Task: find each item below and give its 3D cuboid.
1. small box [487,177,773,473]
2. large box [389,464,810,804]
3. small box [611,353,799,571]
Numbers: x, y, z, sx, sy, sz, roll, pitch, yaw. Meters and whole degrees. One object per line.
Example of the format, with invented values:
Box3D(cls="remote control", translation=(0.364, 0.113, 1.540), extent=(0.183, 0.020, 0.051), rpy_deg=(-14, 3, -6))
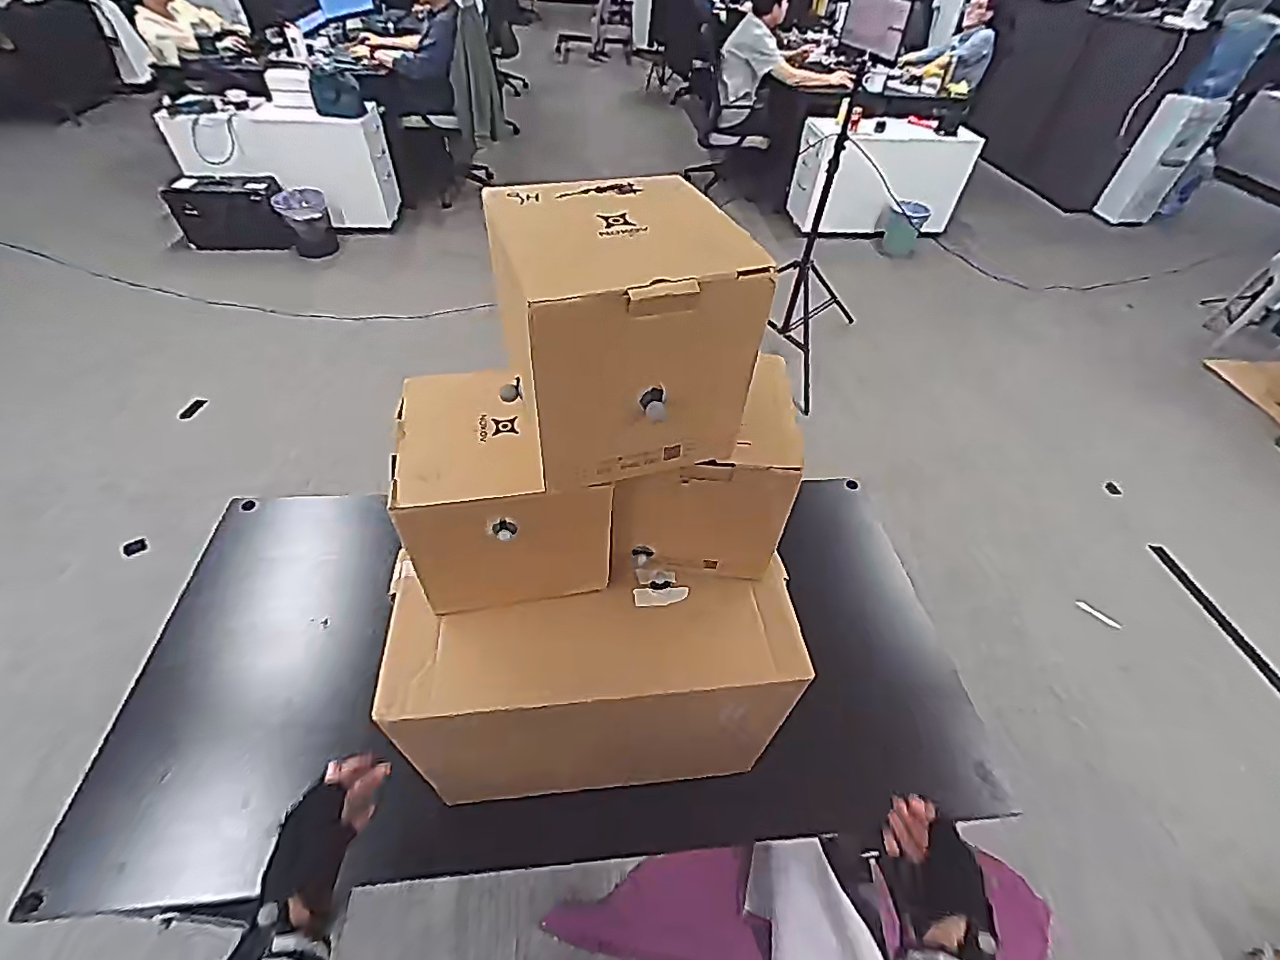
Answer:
Box3D(cls="small box", translation=(-0.019, -0.122, 0.443), extent=(0.168, 0.176, 0.179), rpy_deg=(-12, 50, -16))
Box3D(cls="large box", translation=(-0.059, 0.188, 0.706), extent=(0.408, 0.320, 0.320), rpy_deg=(-3, 48, -8))
Box3D(cls="small box", translation=(0.061, -0.022, 0.578), extent=(0.168, 0.176, 0.179), rpy_deg=(5, 45, 1))
